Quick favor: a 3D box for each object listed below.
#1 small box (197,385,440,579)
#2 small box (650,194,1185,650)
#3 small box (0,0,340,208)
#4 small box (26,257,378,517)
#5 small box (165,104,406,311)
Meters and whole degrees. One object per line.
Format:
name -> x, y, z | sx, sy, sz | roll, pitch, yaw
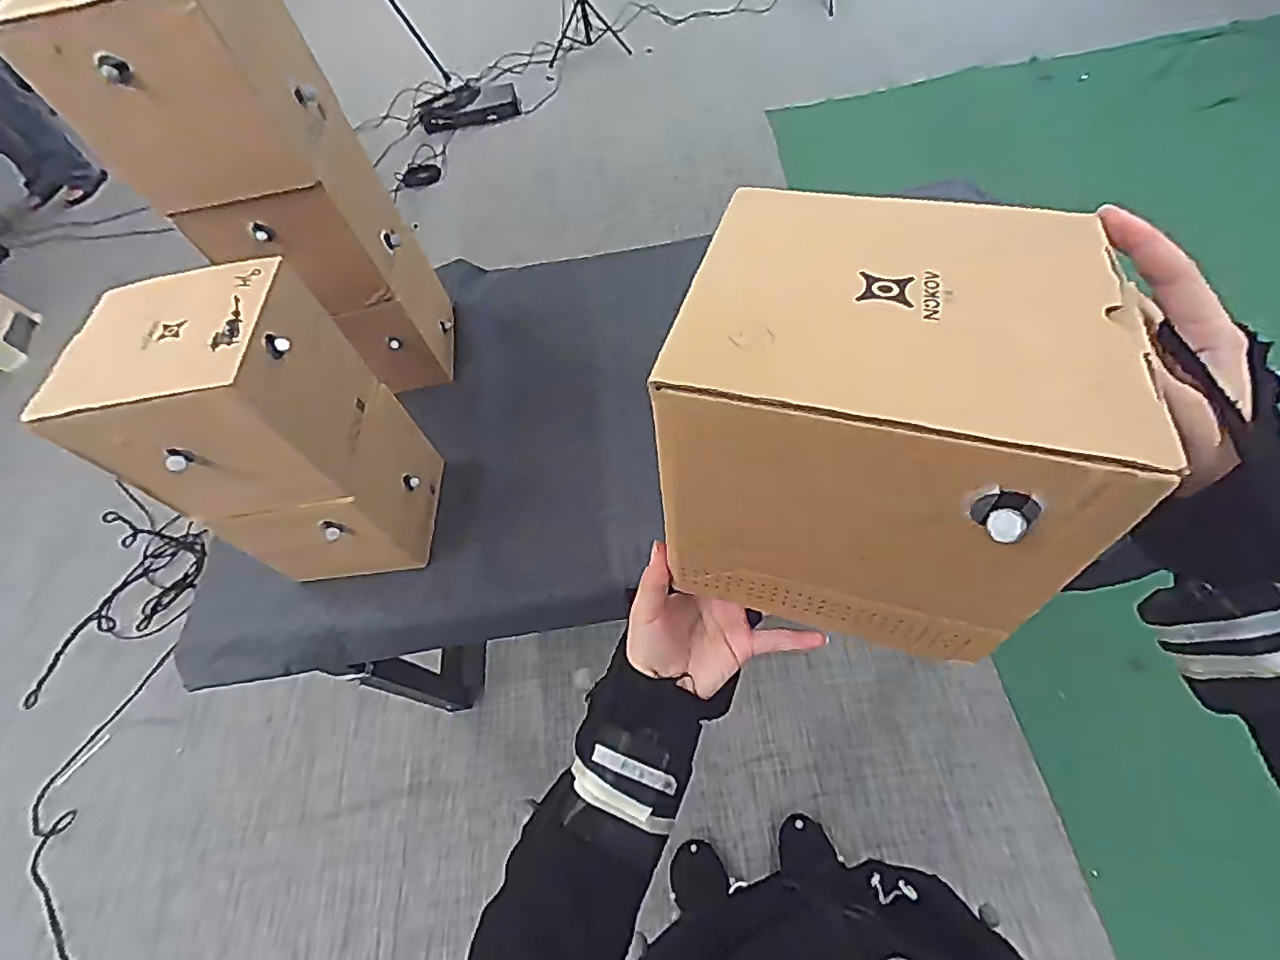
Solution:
small box -> -0.366, 0.009, 0.660 | 0.179, 0.176, 0.168 | -7, 57, 4
small box -> 0.114, -0.029, 0.293 | 0.179, 0.176, 0.168 | 12, 54, 13
small box -> -0.435, -0.396, 0.529 | 0.179, 0.176, 0.168 | -10, 61, 2
small box -> -0.391, -0.080, 0.525 | 0.179, 0.176, 0.168 | -10, 57, 3
small box -> -0.420, -0.324, 0.676 | 0.179, 0.176, 0.168 | -11, 61, 0
